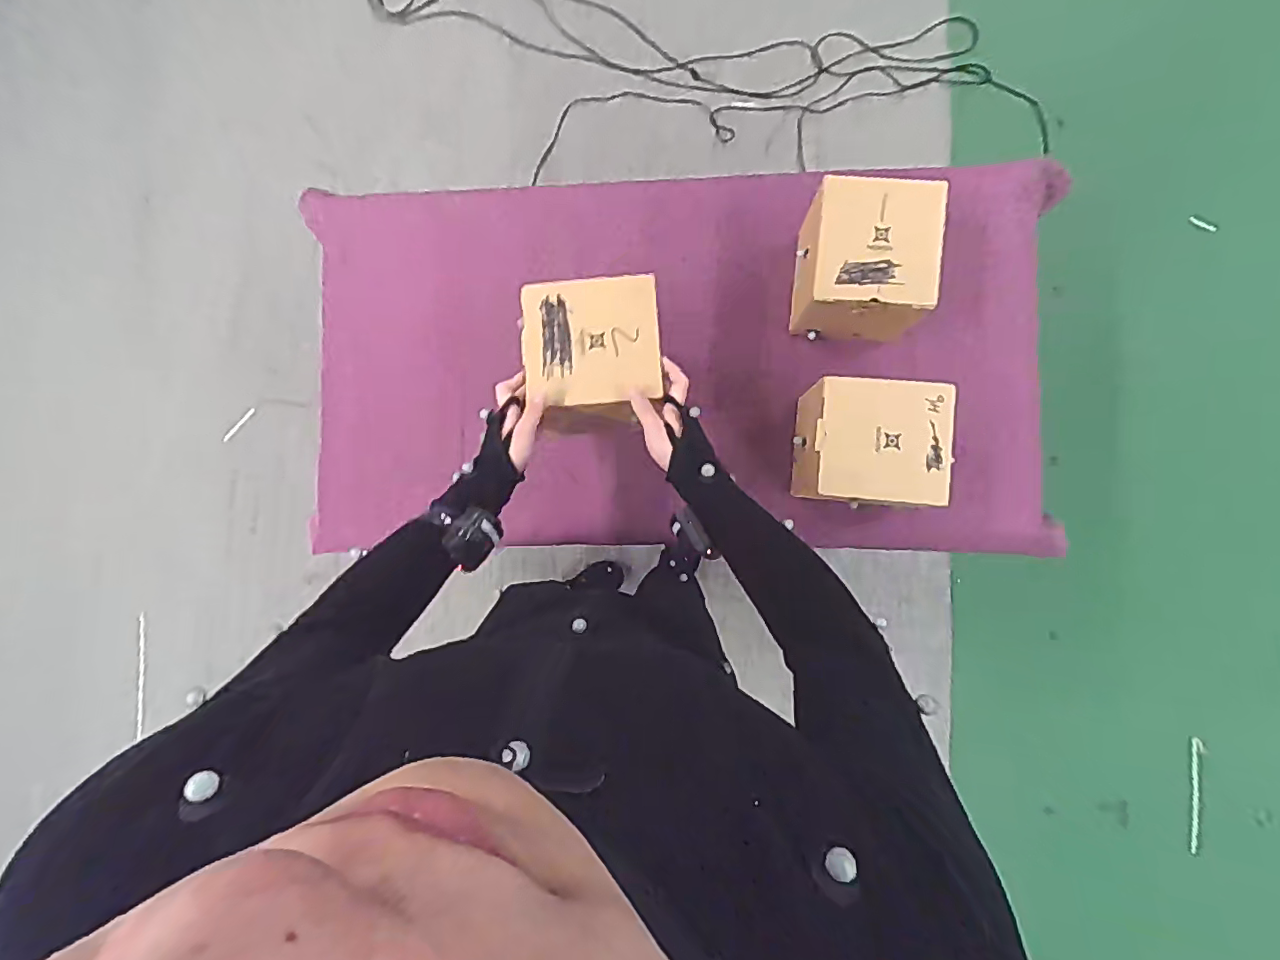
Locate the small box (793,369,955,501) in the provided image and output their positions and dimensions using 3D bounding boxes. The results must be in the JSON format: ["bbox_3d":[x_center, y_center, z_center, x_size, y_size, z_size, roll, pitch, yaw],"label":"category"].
[{"bbox_3d":[0.332,-0.058,0.801,0.179,0.176,0.168,5,88,5],"label":"small box"}]

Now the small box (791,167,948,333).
[{"bbox_3d":[0.328,-0.330,0.808,0.168,0.176,0.179,6,89,4],"label":"small box"}]
